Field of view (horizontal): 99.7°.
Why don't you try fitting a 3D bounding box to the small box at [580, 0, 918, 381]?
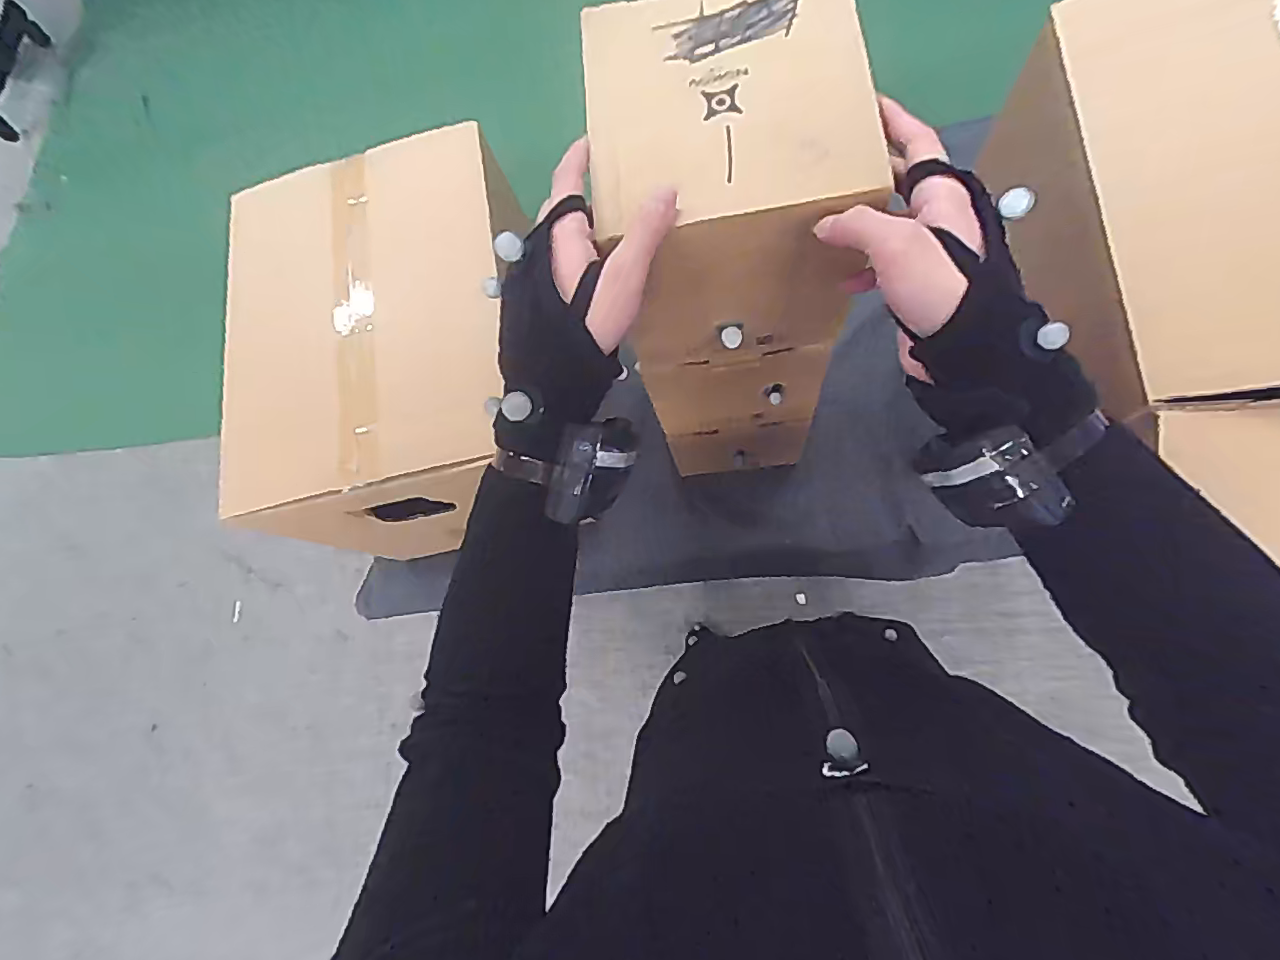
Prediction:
[{"bbox_3d":[0.061,-0.187,0.365,0.168,0.176,0.179,-6,76,9],"label":"small box"}]
